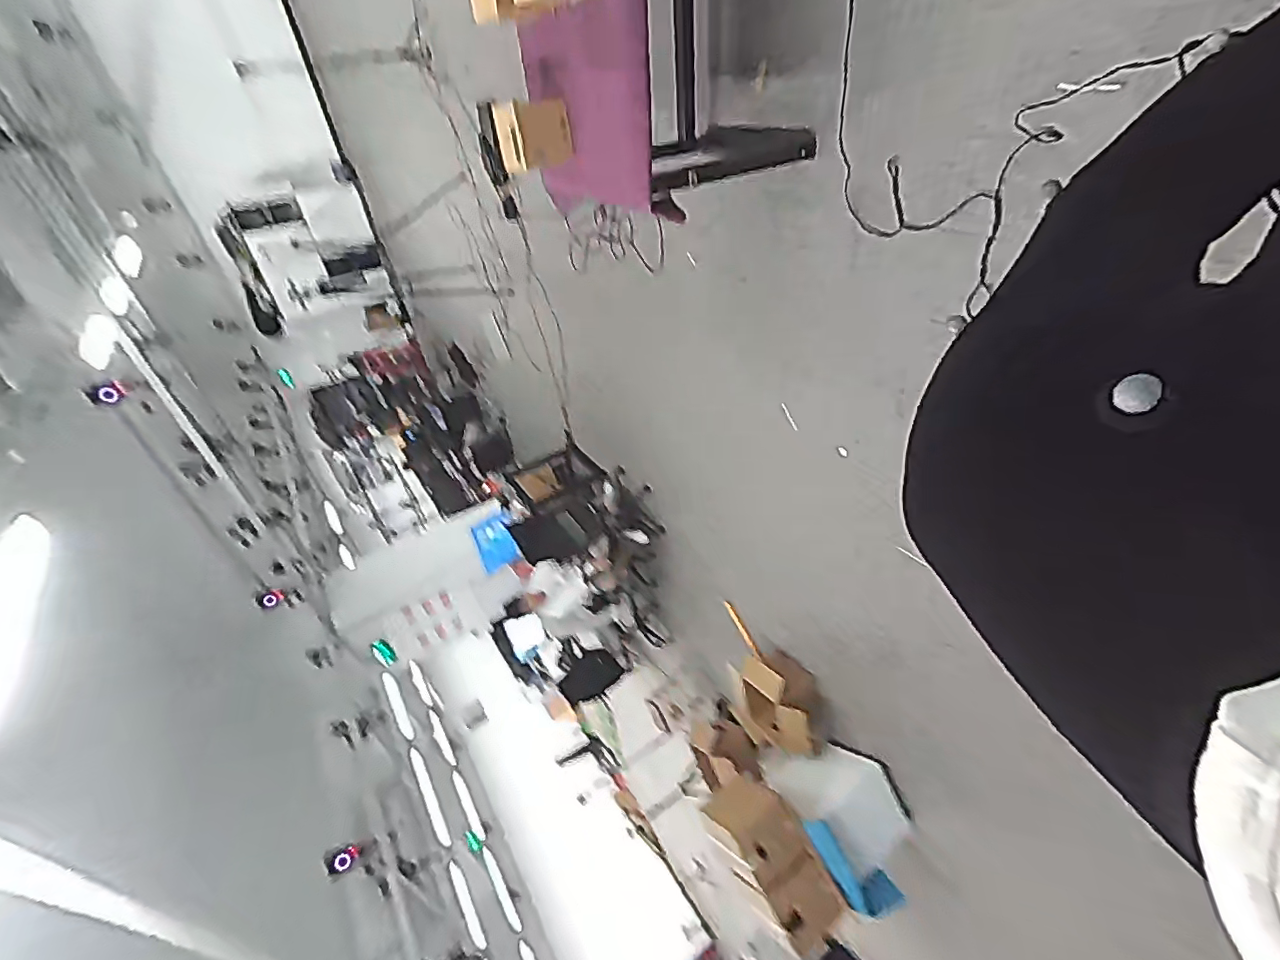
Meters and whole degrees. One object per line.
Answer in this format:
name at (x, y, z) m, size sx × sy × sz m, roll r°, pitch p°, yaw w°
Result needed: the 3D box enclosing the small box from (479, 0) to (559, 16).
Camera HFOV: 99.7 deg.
small box at (-0.334, -1.352, 1.440) m, size 0.179 × 0.176 × 0.168 m, roll 39°, pitch 146°, yaw 42°
